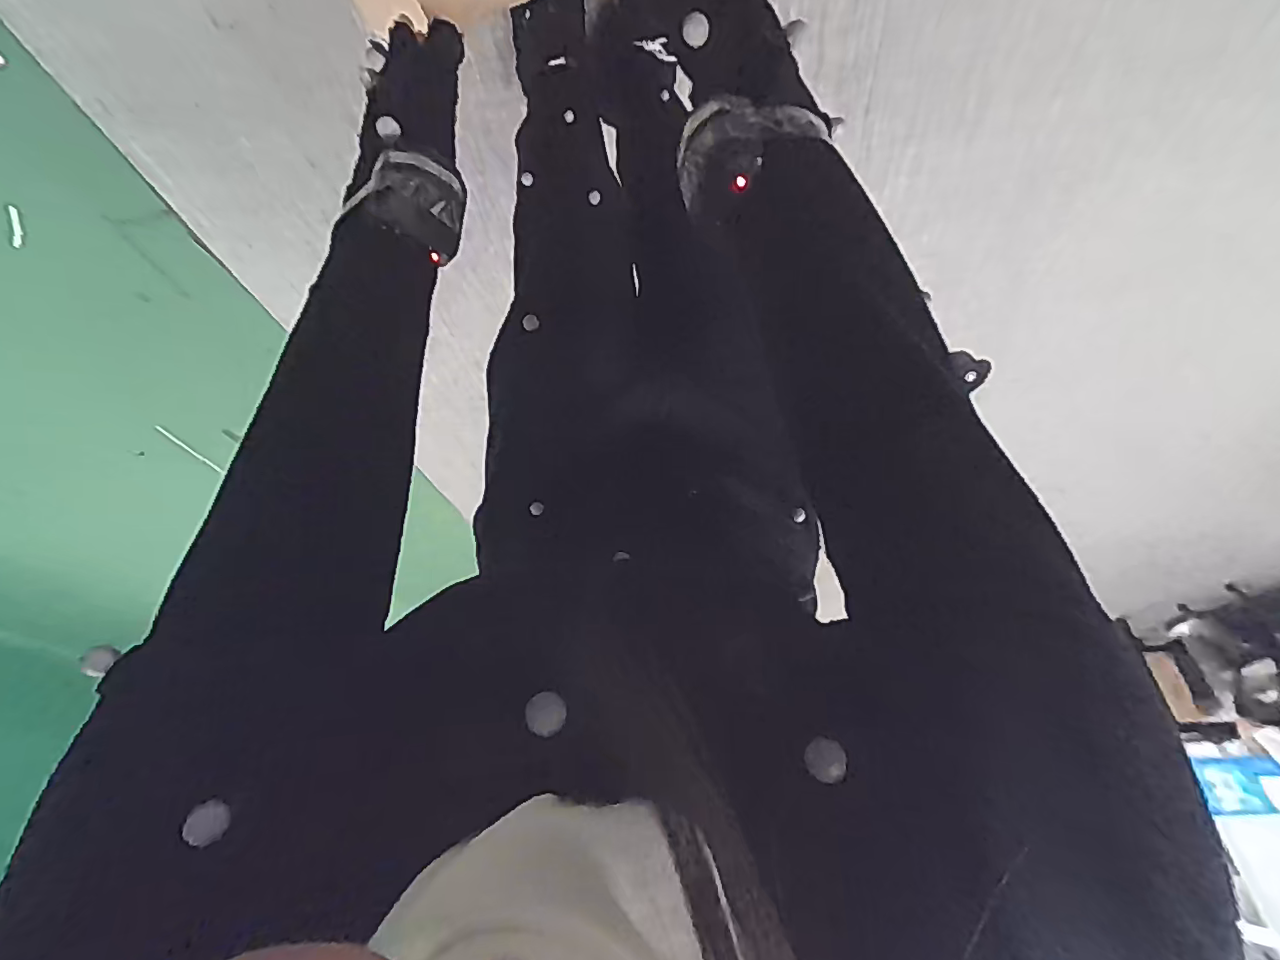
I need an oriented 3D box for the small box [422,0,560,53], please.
[{"bbox_3d":[-0.114,-0.495,0.420,0.179,0.176,0.168,-13,148,16],"label":"small box"}]
